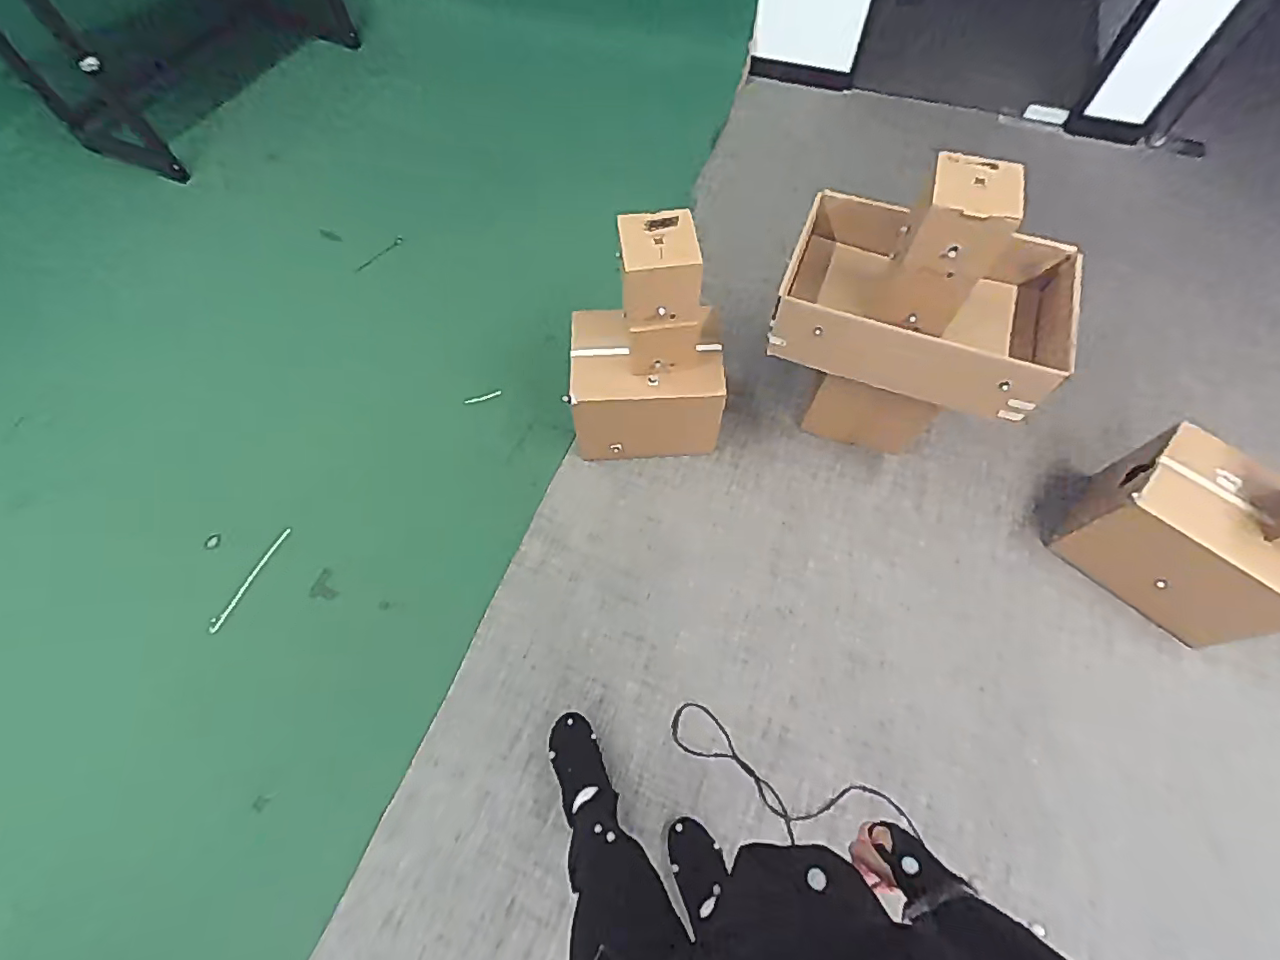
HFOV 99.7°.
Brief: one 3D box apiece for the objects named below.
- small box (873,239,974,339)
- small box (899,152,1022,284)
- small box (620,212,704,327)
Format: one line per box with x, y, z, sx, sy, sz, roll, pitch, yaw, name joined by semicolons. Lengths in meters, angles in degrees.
0.672;-0.470;1.282;0.168;0.176;0.179;18;66;11;small box
0.664;-0.544;1.136;0.168;0.176;0.179;16;66;9;small box
0.045;-0.477;1.235;0.168;0.176;0.179;-7;62;-2;small box
